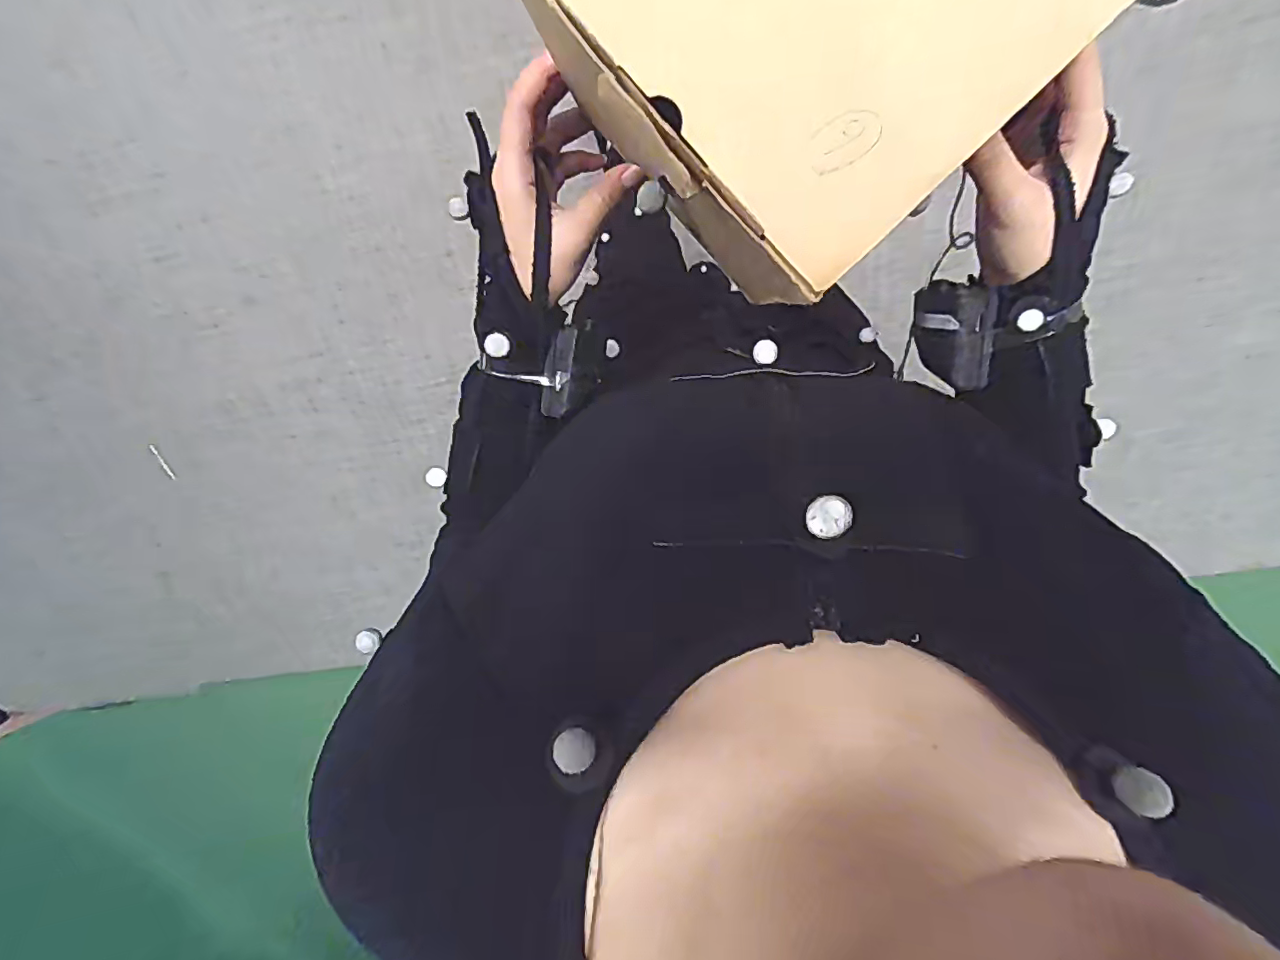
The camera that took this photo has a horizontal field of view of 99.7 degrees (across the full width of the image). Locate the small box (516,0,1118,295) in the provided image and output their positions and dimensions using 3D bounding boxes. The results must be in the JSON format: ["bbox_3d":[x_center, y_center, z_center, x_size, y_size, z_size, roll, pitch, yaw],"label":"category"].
[{"bbox_3d":[0.074,-0.206,0.254,0.168,0.176,0.179,44,106,-9],"label":"small box"}]
